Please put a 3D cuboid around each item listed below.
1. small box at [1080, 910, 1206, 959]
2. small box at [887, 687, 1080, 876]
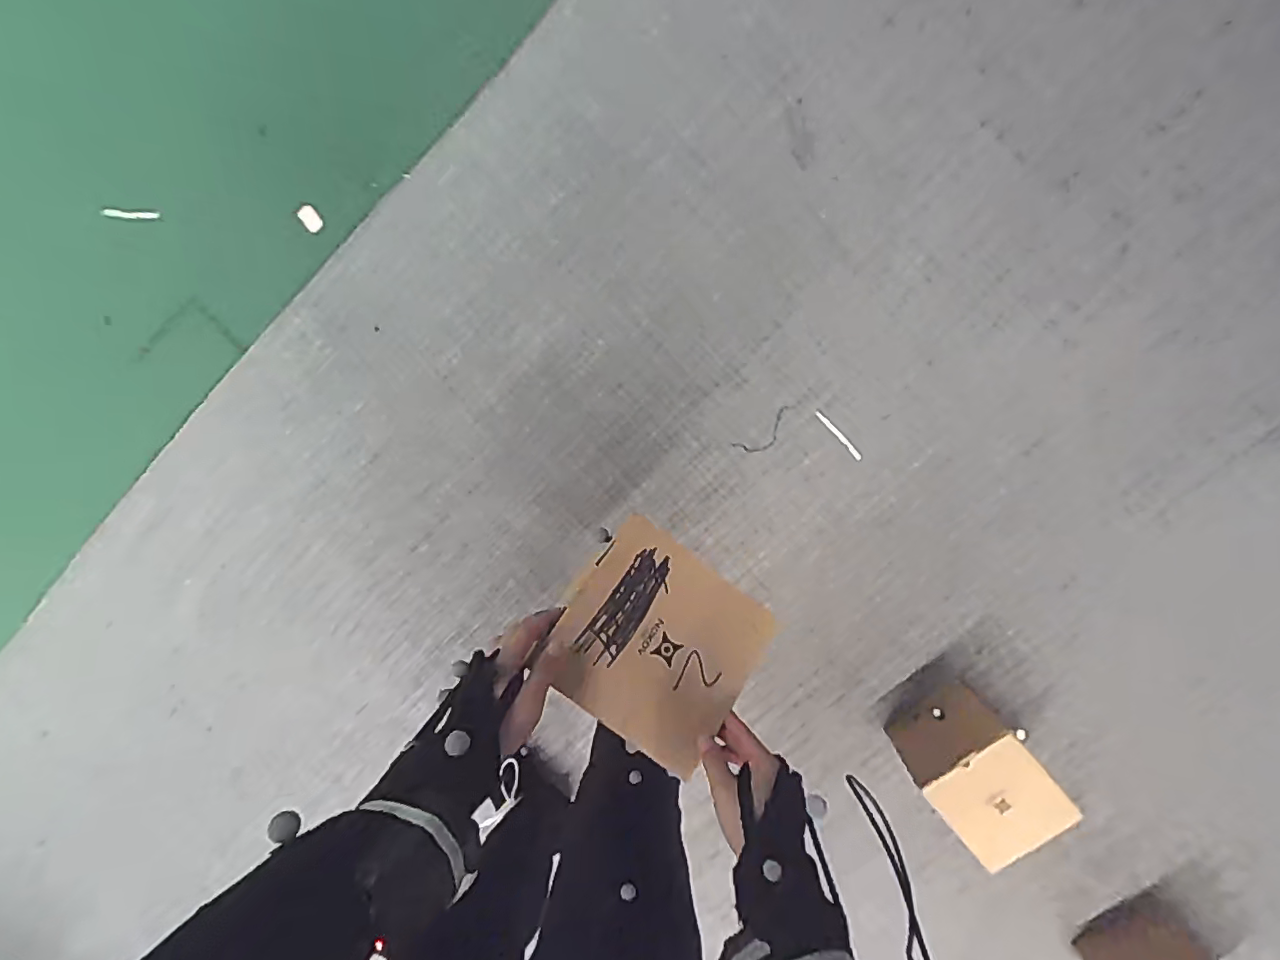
[{"bbox_3d":[0.888,0.881,0.896,0.179,0.176,0.168,-37,92,8],"label":"small box"},{"bbox_3d":[0.549,0.483,0.891,0.168,0.176,0.179,-41,90,10],"label":"small box"}]
